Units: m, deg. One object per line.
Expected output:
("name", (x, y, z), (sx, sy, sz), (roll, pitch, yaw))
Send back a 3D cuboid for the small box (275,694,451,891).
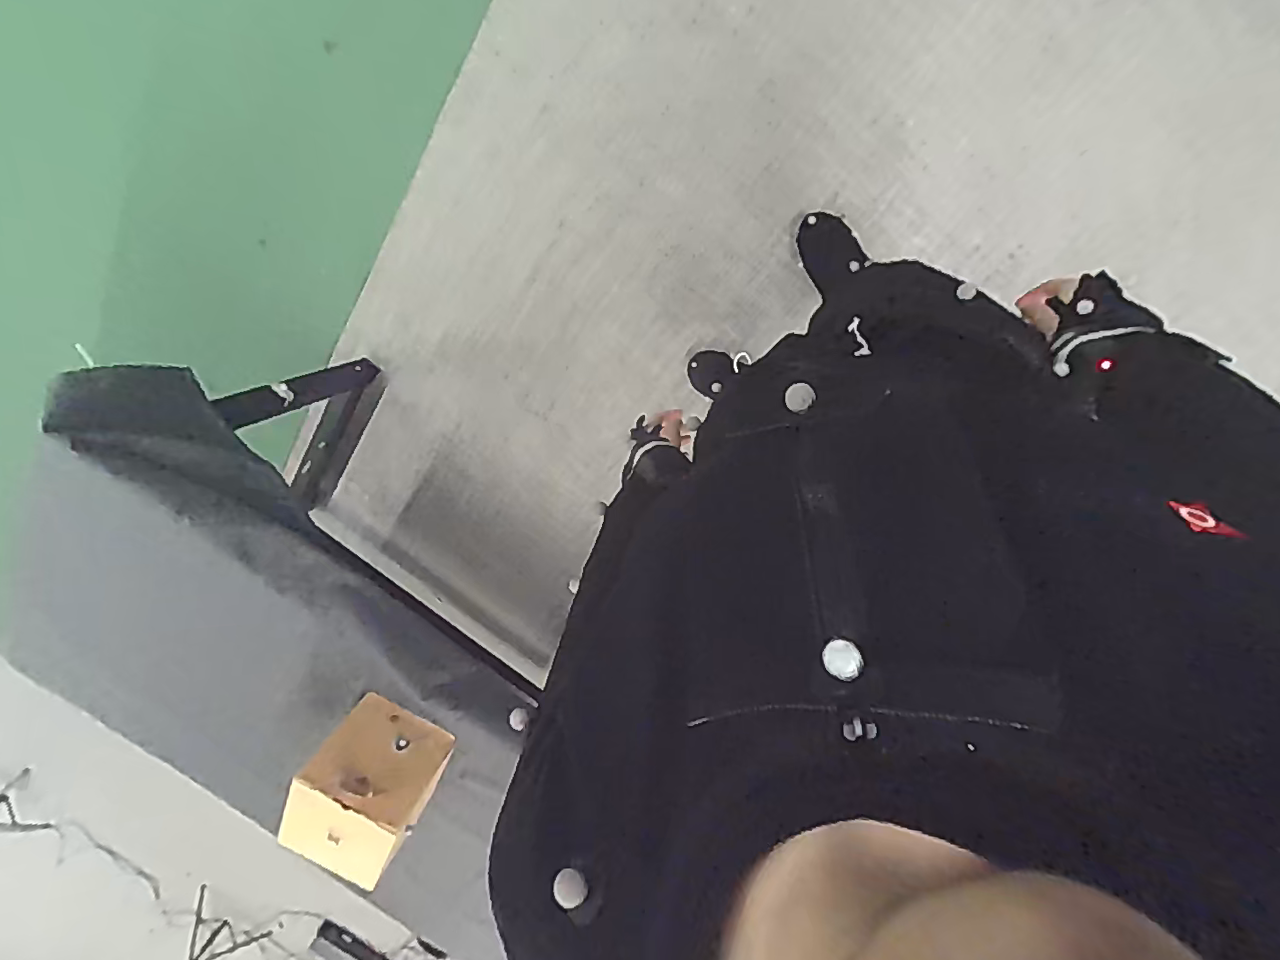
("small box", (-0.423, 0.479, 0.844), (0.168, 0.176, 0.179), (28, 115, 0))
